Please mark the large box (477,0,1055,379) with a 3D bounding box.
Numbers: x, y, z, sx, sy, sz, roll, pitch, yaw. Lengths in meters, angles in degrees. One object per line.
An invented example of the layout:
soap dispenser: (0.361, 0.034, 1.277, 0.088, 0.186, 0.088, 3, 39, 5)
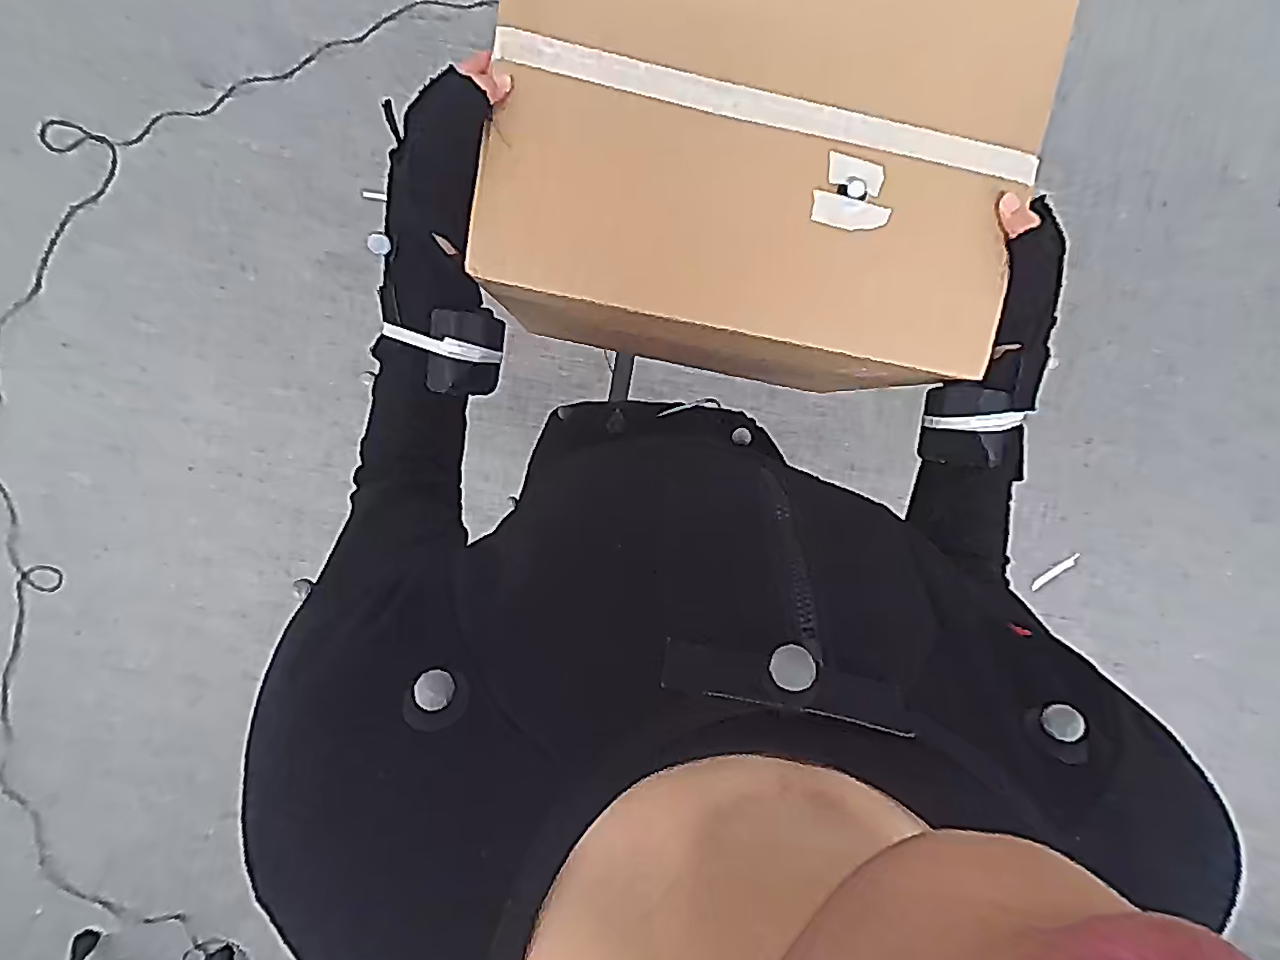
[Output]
large box: (0.083, -0.295, 0.548, 0.408, 0.320, 0.320, 10, 98, -6)
